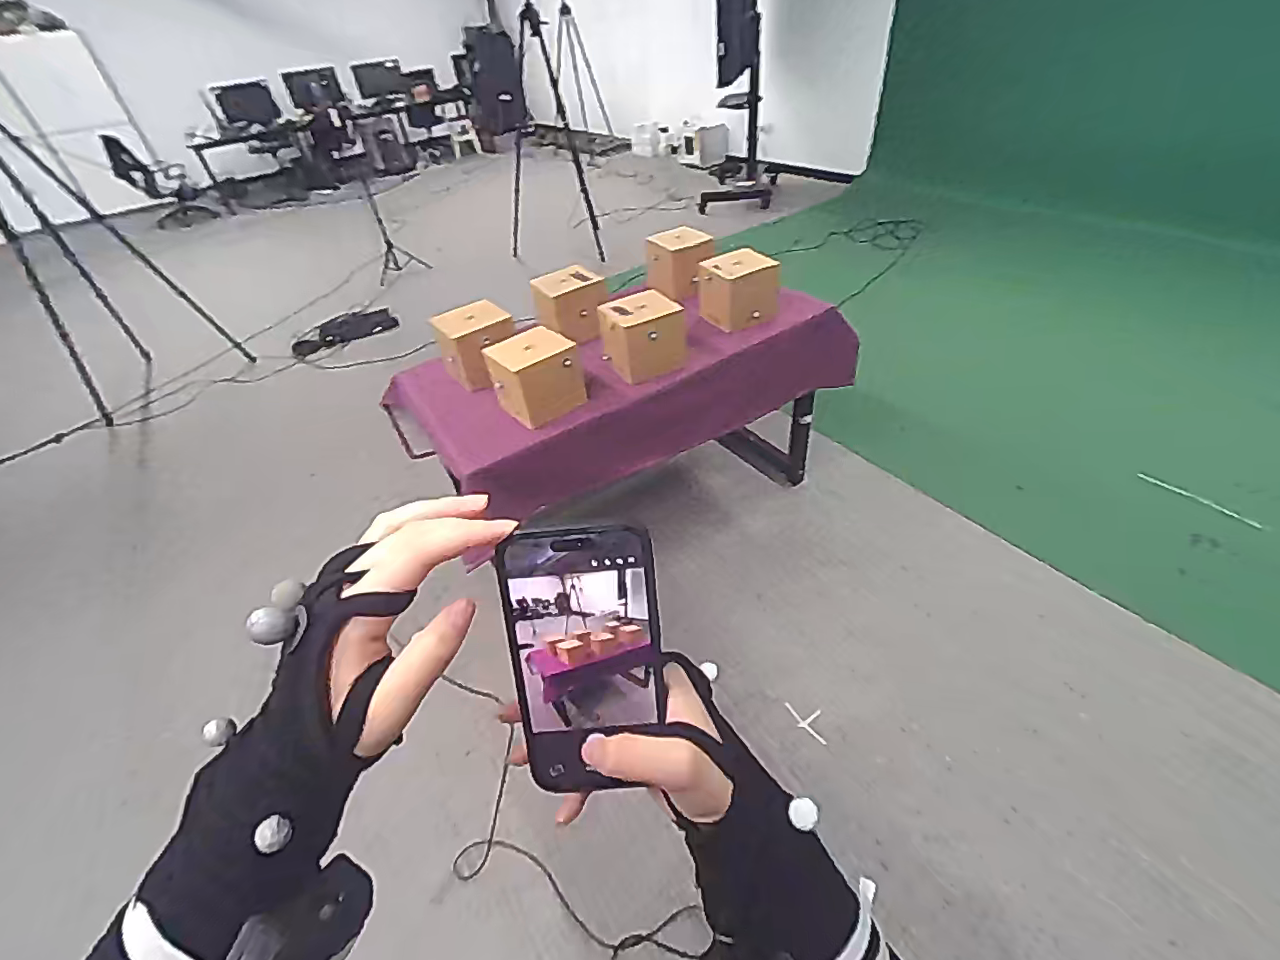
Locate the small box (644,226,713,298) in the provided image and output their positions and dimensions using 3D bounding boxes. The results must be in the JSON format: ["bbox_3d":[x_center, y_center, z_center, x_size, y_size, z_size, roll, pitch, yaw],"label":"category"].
[{"bbox_3d":[0.130,-0.736,1.831,0.168,0.176,0.179,-25,46,-18],"label":"small box"}]

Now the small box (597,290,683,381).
[{"bbox_3d":[0.005,-0.390,1.464,0.179,0.176,0.168,-23,44,-18],"label":"small box"}]

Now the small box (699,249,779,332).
[{"bbox_3d":[0.291,-0.567,1.621,0.179,0.176,0.168,-22,43,-17],"label":"small box"}]

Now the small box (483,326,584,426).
[{"bbox_3d":[-0.261,-0.261,1.360,0.179,0.176,0.168,-31,47,-26],"label":"small box"}]
